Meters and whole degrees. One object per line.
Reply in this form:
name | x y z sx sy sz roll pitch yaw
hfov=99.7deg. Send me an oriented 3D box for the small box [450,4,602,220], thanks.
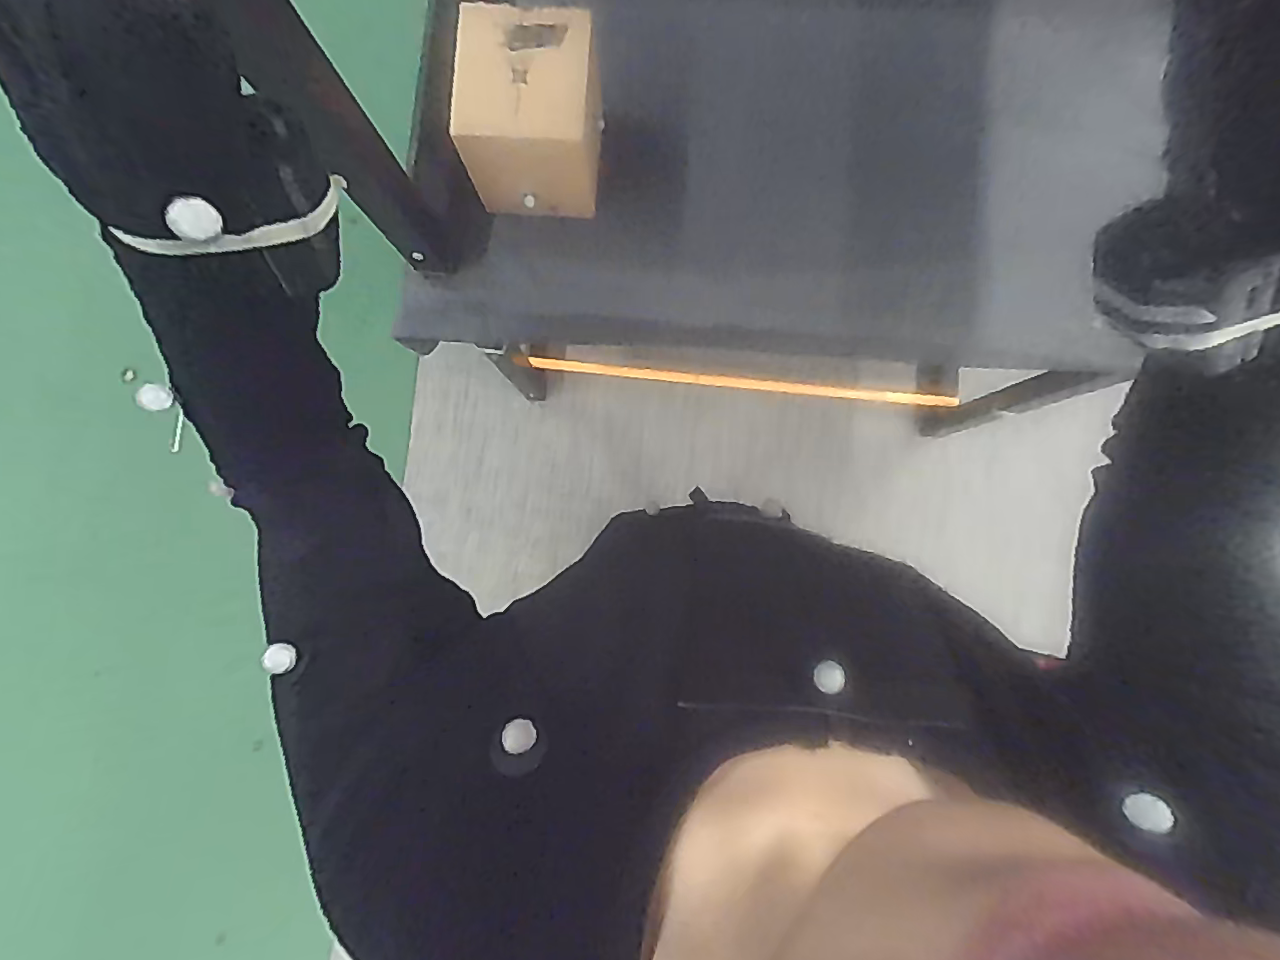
small box | -0.142 -0.488 0.737 0.168 0.176 0.179 3 85 1
